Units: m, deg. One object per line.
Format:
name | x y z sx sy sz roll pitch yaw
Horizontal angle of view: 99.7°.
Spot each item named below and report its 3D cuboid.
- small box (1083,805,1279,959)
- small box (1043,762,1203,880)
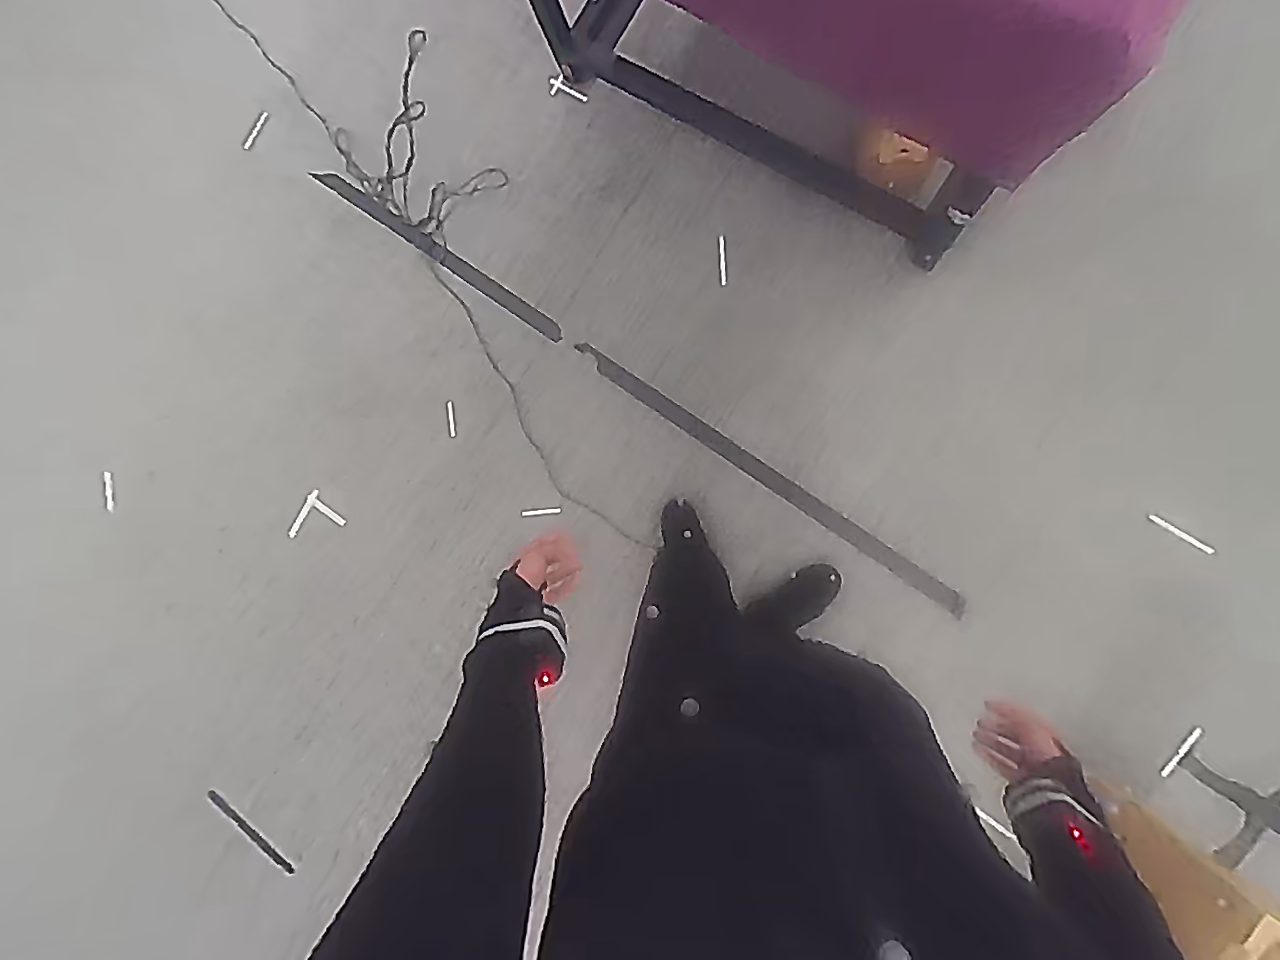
small box | 1.002 0.762 1.011 0.179 0.176 0.168 37 96 12
small box | 1.025 0.763 1.172 0.168 0.176 0.179 32 94 11
